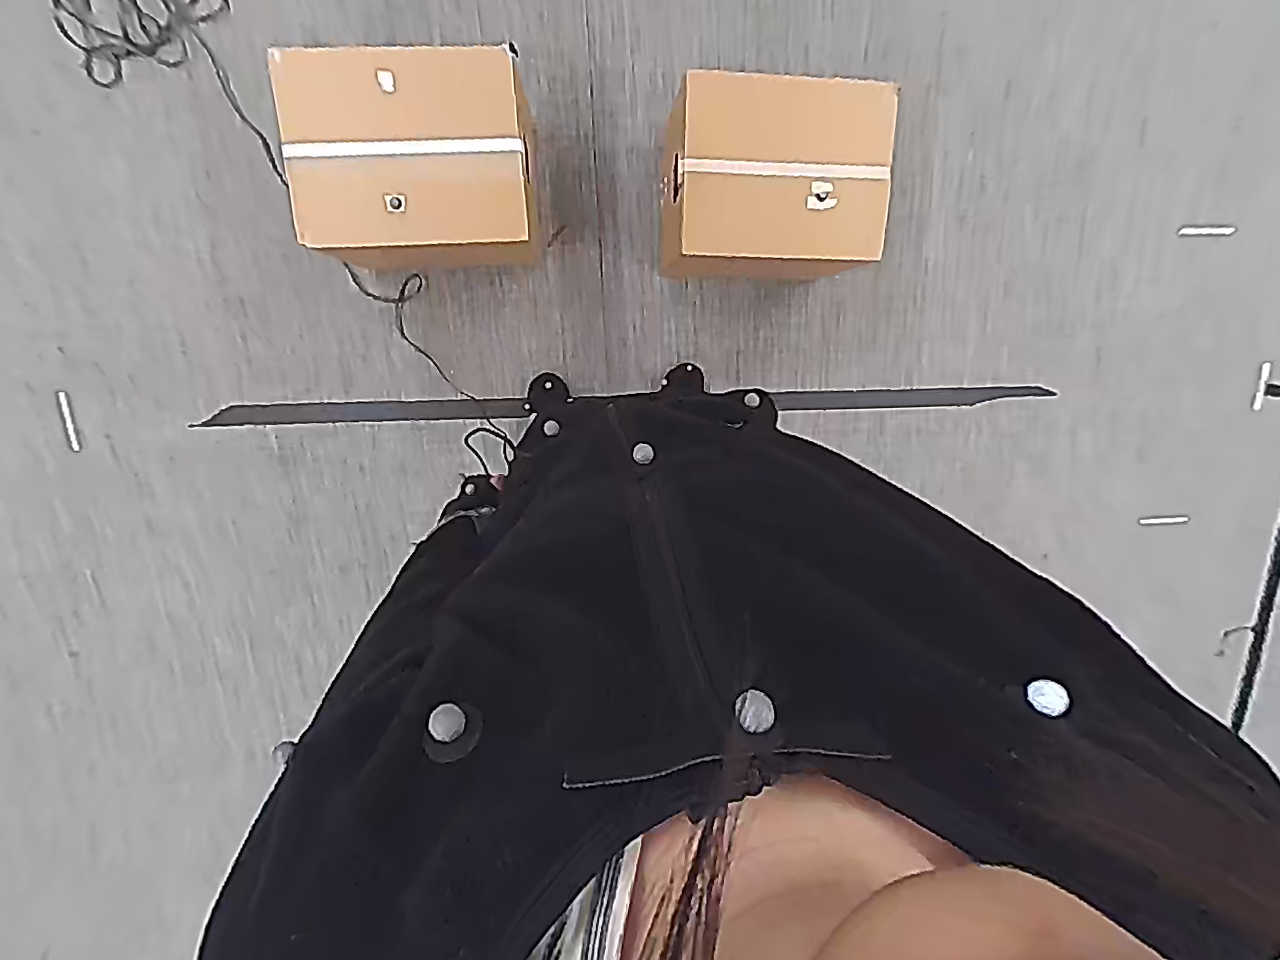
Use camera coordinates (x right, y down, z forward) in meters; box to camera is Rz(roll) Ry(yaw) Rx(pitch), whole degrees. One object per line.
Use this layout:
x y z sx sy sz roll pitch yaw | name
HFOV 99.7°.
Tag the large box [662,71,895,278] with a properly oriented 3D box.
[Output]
0.265 -0.623 1.170 0.408 0.320 0.320 0 103 -6 | large box
